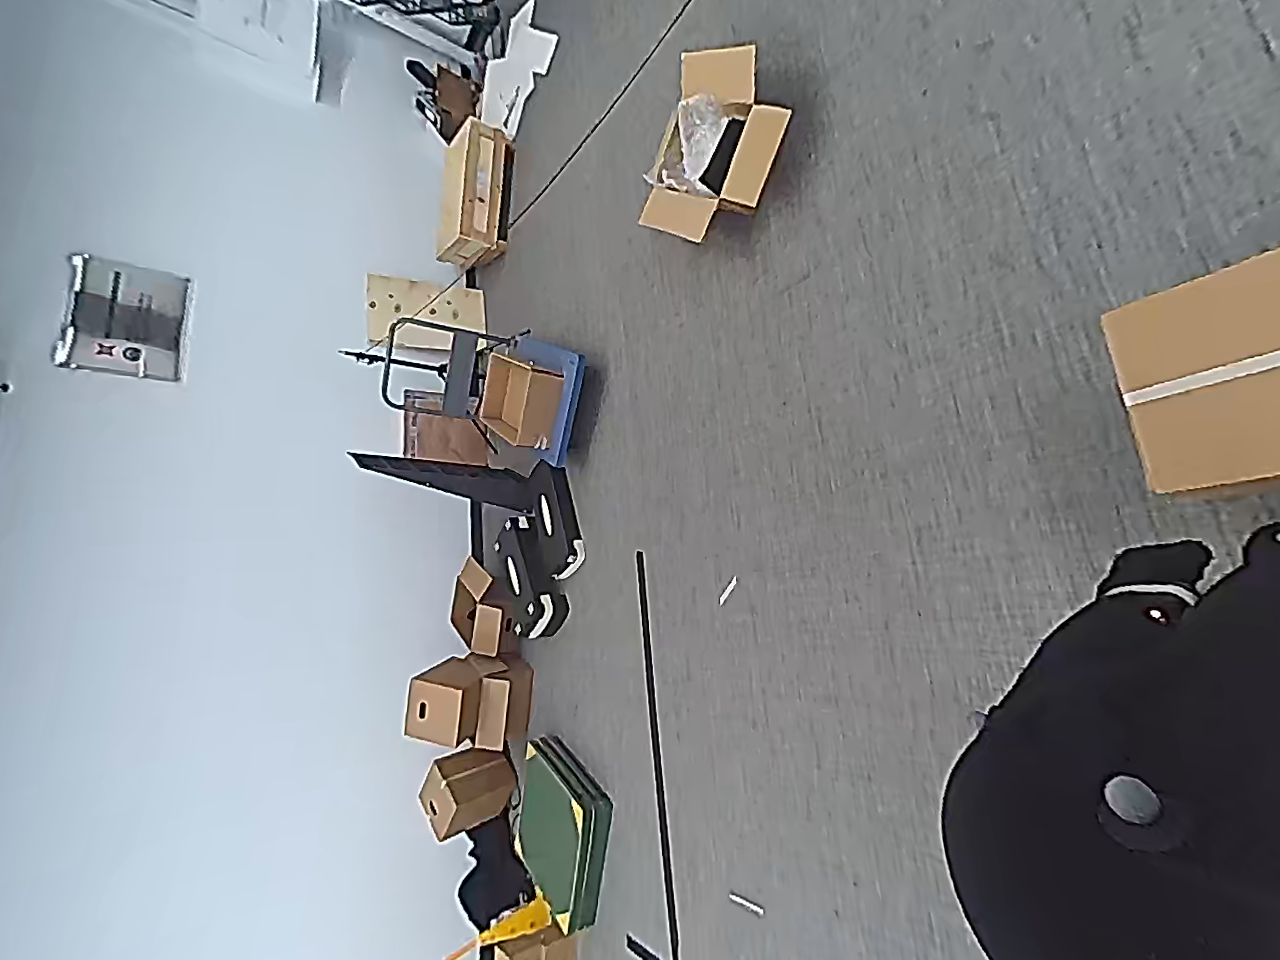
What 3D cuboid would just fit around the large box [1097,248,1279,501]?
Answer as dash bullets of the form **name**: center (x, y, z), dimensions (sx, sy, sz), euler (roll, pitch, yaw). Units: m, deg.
- **large box**: center (1.021, -0.163, 0.817), dimensions (0.408, 0.320, 0.320), euler (-22, 70, 51)
